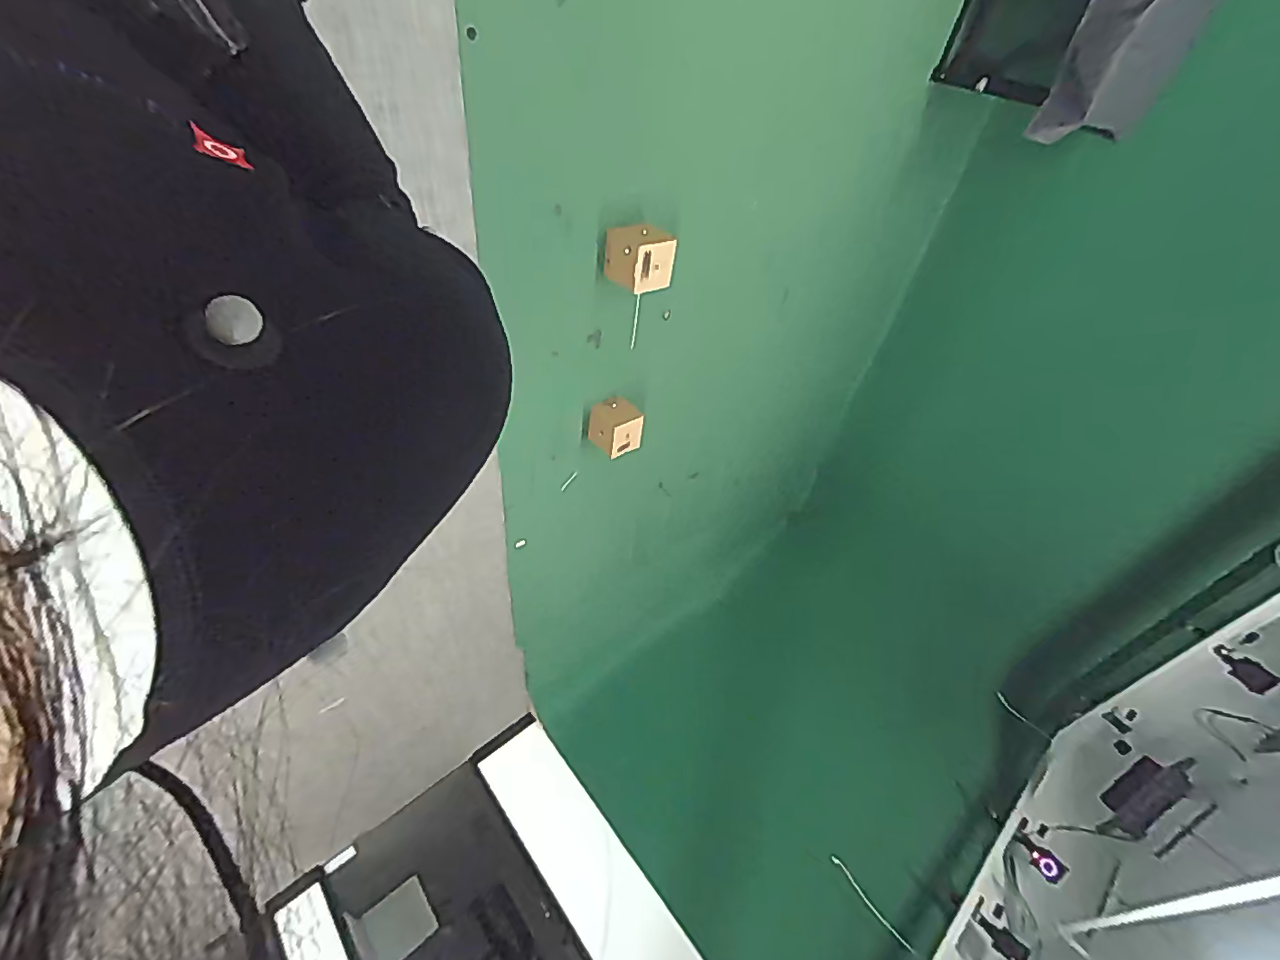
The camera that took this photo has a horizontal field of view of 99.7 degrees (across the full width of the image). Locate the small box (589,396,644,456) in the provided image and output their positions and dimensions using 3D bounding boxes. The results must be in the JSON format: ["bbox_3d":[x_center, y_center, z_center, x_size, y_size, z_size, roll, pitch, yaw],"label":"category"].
[{"bbox_3d":[-0.108,-0.238,2.358,0.168,0.176,0.179,-26,144,-33],"label":"small box"}]
